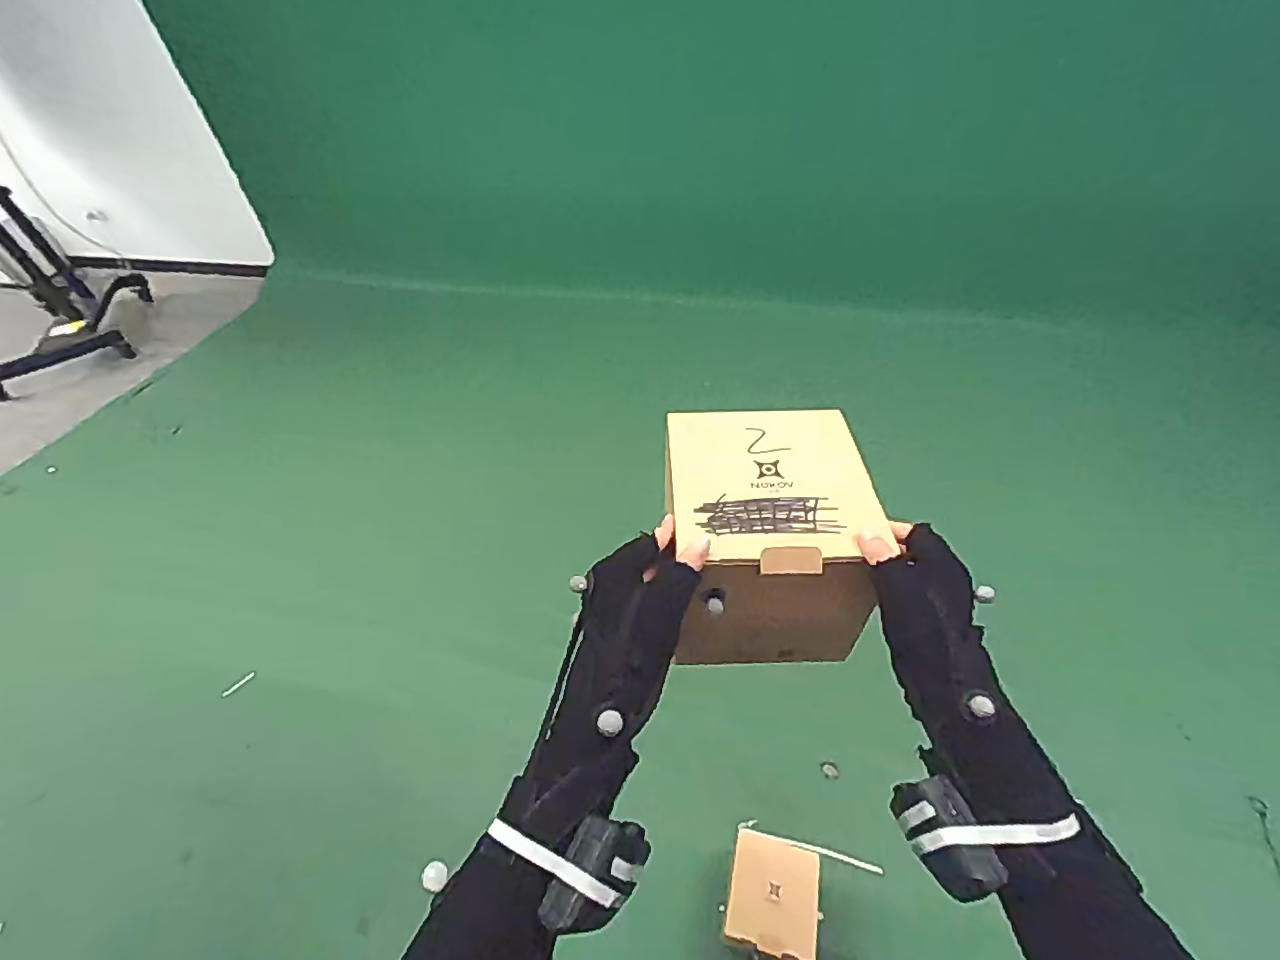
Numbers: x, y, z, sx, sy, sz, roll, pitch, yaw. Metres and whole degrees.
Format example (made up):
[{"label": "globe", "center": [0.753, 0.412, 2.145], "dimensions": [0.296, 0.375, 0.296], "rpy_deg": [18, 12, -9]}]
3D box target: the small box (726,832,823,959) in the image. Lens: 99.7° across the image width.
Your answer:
[{"label": "small box", "center": [0.271, 0.857, 1.101], "dimensions": [0.168, 0.176, 0.179], "rpy_deg": [8, 47, 14]}]
